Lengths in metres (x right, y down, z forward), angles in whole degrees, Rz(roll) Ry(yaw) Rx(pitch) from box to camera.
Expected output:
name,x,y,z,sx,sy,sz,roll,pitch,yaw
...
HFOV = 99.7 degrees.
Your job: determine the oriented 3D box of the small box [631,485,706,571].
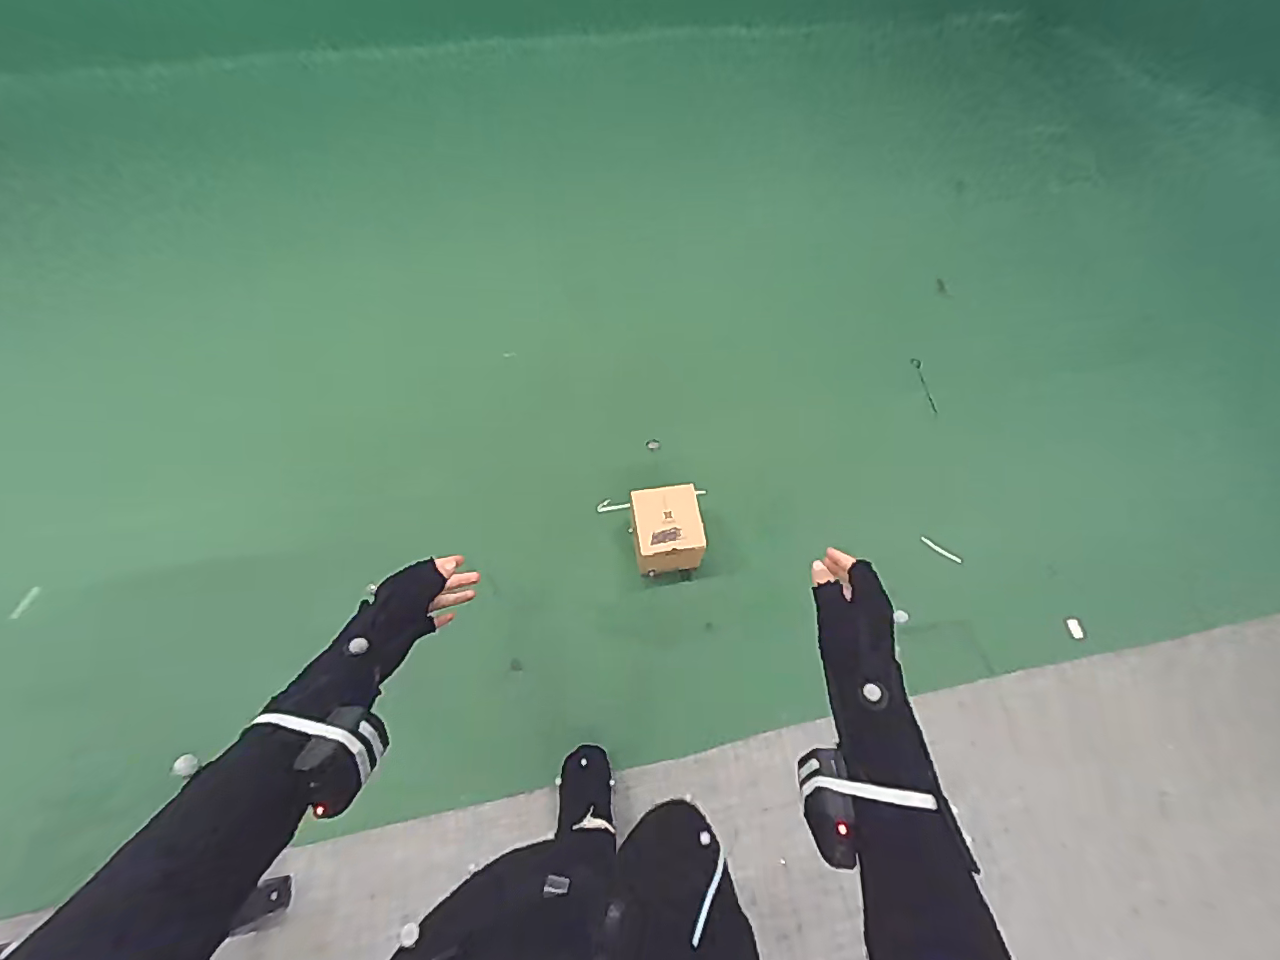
name,x,y,z,sx,sy,sz,roll,pitch,yaw
small box,0.069,0.133,1.425,0.168,0.176,0.179,-7,63,-6
